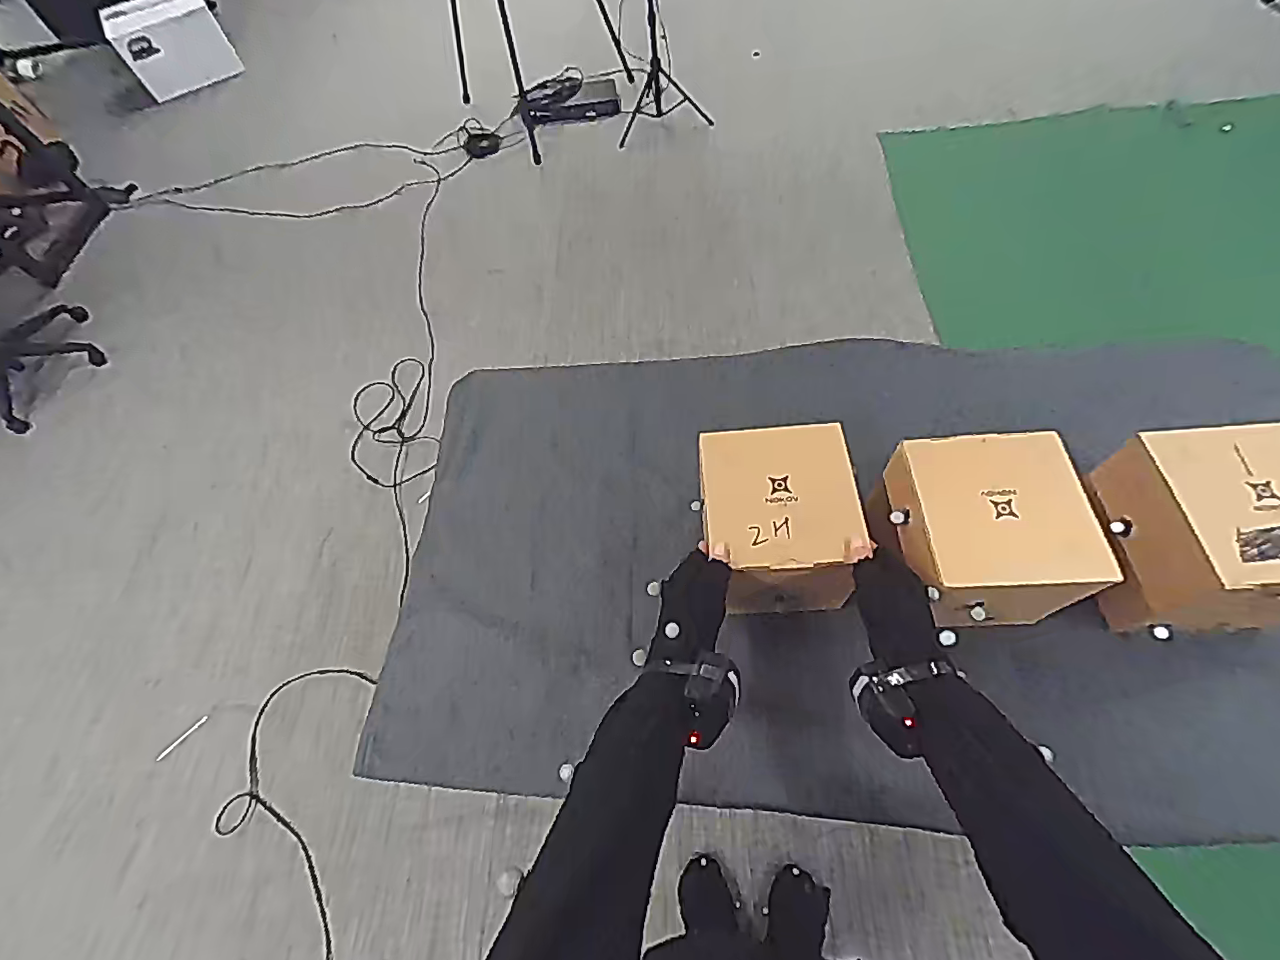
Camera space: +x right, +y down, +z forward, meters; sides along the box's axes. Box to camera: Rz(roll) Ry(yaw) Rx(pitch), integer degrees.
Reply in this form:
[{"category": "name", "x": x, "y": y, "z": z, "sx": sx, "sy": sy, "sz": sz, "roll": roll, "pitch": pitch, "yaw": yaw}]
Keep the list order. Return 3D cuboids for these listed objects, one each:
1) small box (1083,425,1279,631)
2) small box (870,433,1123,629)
[{"category": "small box", "x": 0.621, "y": 0.061, "z": 0.591, "sx": 0.168, "sy": 0.176, "sz": 0.179, "roll": -4, "pitch": 59, "yaw": 6}, {"category": "small box", "x": 0.383, "y": 0.069, "z": 0.623, "sx": 0.168, "sy": 0.176, "sz": 0.179, "roll": -4, "pitch": 59, "yaw": 6}]
